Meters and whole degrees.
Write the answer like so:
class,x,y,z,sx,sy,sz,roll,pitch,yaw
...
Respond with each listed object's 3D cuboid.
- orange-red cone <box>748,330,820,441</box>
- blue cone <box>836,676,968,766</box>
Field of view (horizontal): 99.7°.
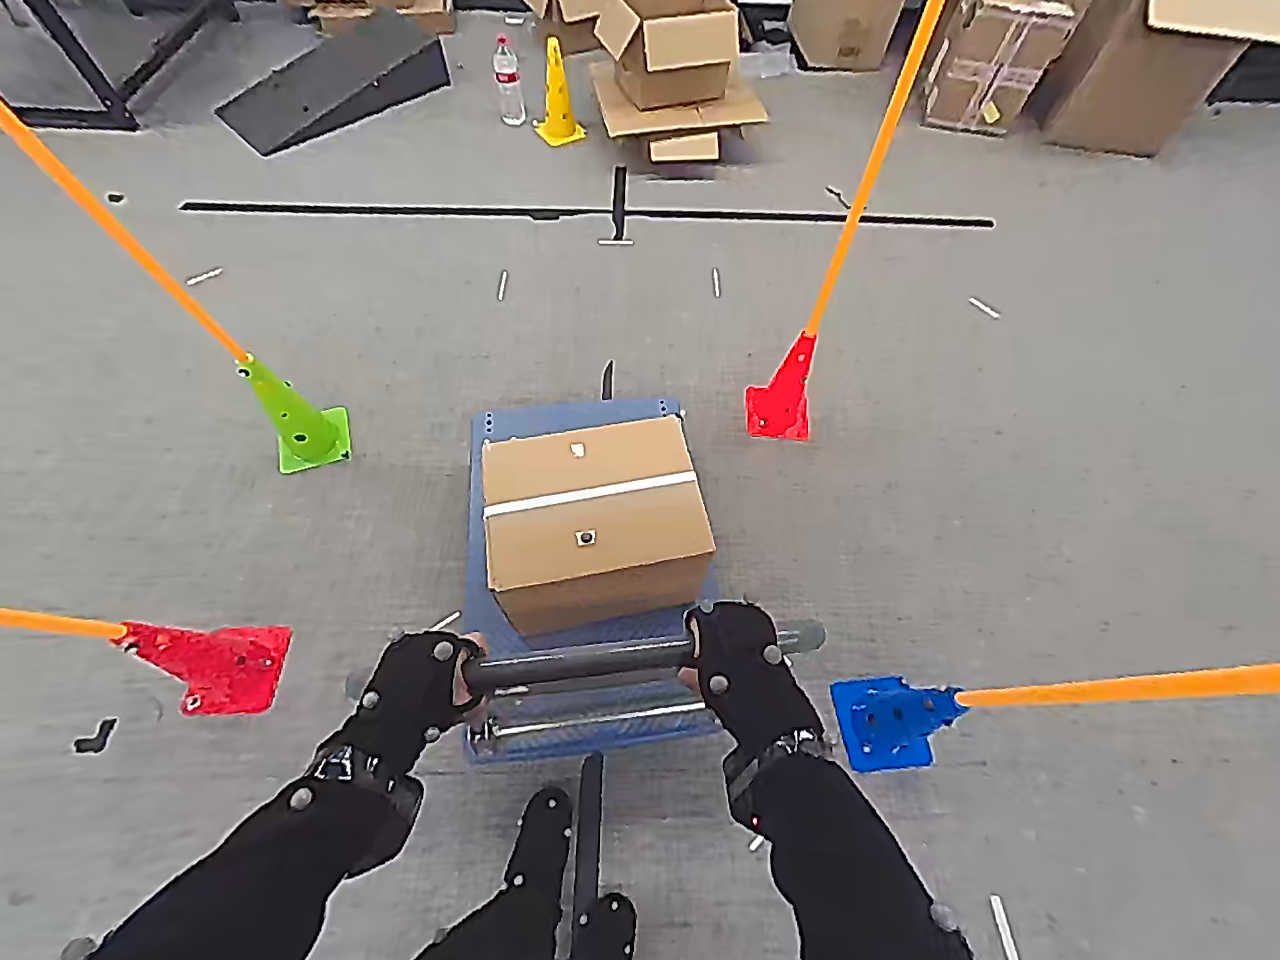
class,x,y,z,sx,sy,sz,roll,pitch,yaw
orange-red cone,0.455,-0.300,1.588,0.199,0.360,0.198,7,61,1
blue cone,0.585,0.489,1.152,0.193,0.380,0.192,-3,59,-4
